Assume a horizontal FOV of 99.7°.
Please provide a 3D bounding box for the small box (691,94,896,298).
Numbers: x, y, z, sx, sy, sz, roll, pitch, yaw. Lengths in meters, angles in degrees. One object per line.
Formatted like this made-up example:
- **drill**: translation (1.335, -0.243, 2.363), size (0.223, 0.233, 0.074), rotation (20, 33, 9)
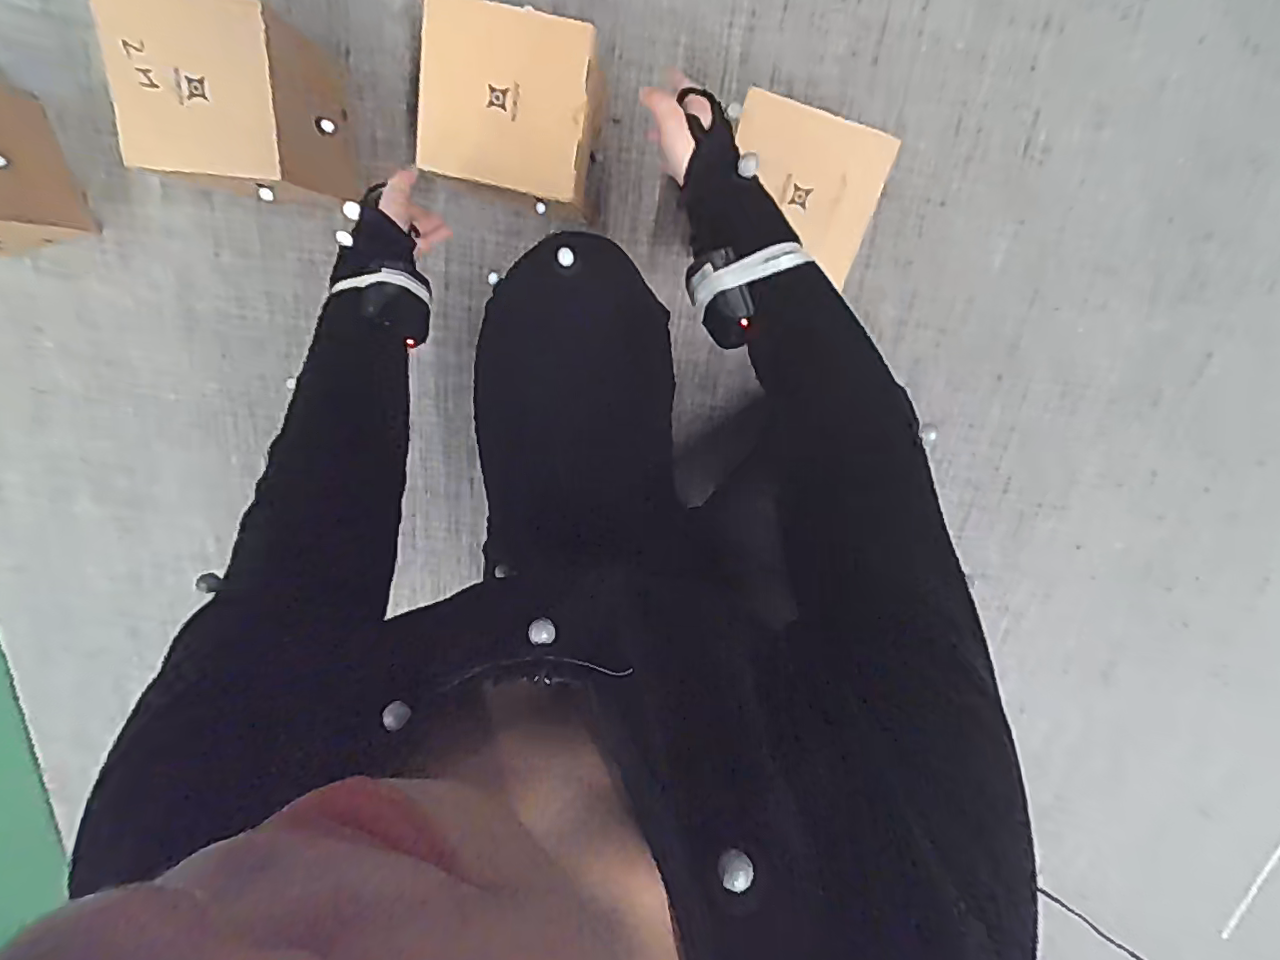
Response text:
- **small box**: translation (0.170, -0.332, 0.670), size (0.179, 0.176, 0.168), rotation (17, 109, -5)

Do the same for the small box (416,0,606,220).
- **small box**: translation (-0.144, -0.423, 0.648), size (0.179, 0.176, 0.168), rotation (11, 109, -3)

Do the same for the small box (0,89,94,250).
- **small box**: translation (-0.864, -0.393, 0.676), size (0.168, 0.176, 0.179), rotation (-10, 109, 5)

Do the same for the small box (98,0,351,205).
- **small box**: translation (-0.469, -0.438, 0.648), size (0.179, 0.176, 0.168), rotation (5, 108, -1)
